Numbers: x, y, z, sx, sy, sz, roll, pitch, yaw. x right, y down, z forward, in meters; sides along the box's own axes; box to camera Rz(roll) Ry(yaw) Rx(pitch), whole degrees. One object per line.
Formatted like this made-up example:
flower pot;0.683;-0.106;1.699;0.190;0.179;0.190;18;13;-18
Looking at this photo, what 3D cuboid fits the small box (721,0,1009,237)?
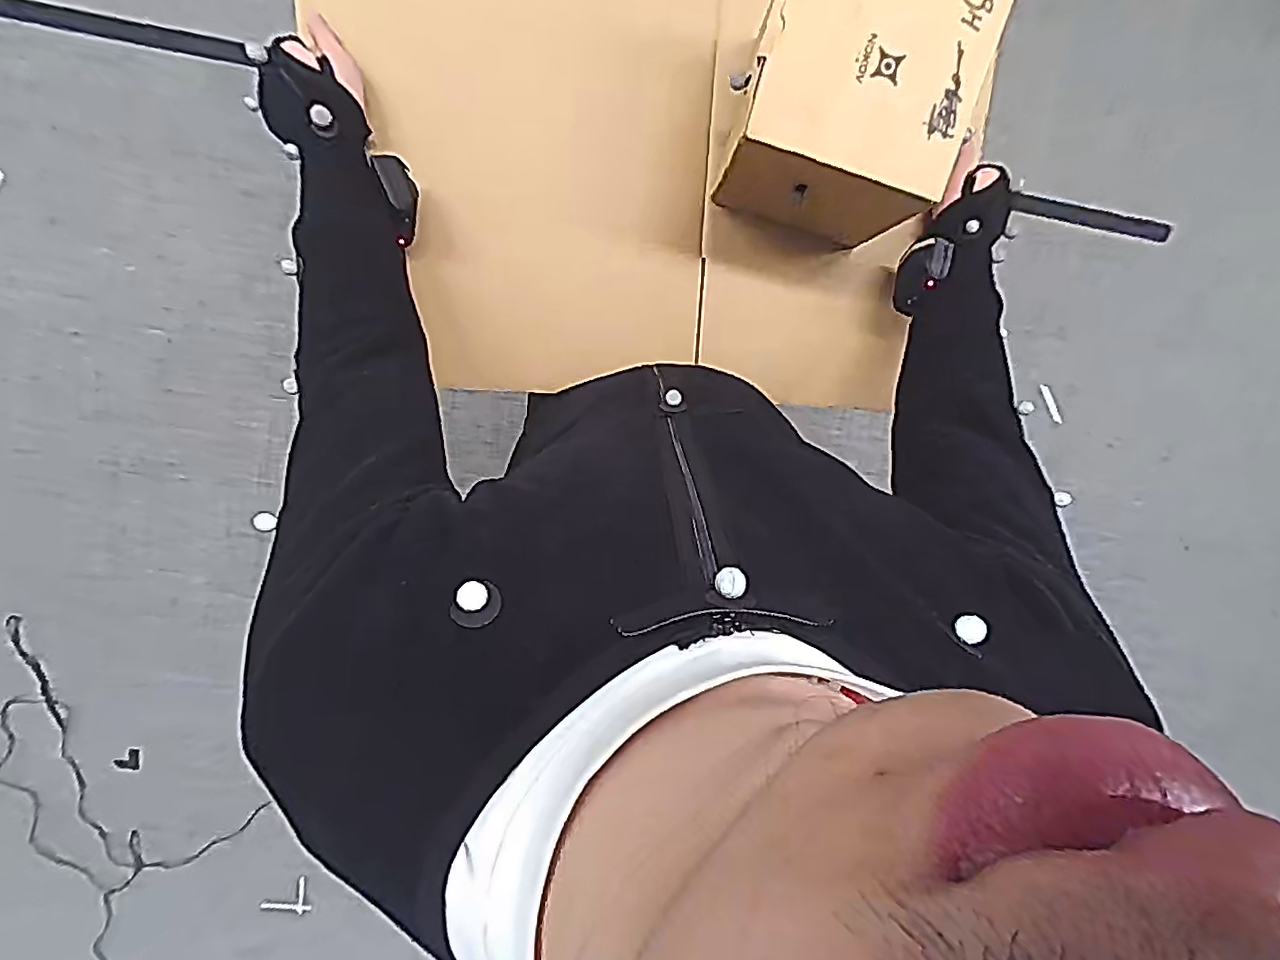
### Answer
small box;0.188;-0.351;0.511;0.179;0.176;0.168;16;100;-4
